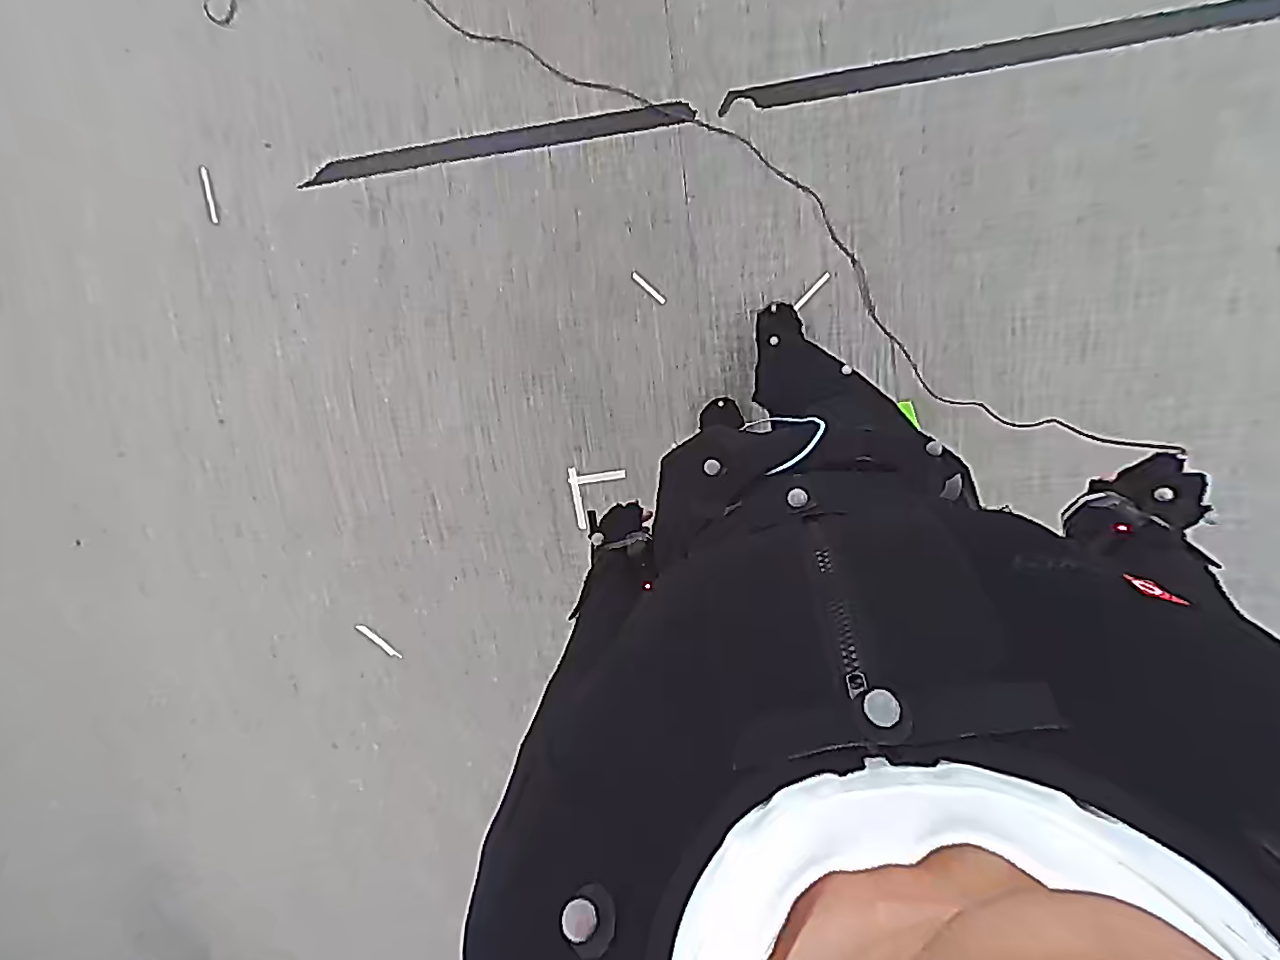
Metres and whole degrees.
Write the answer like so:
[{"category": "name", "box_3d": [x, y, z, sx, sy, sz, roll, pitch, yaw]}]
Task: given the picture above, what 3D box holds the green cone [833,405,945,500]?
[{"category": "green cone", "box_3d": [0.583, -0.036, 1.187, 0.202, 0.368, 0.200, -21, 97, 12]}]
